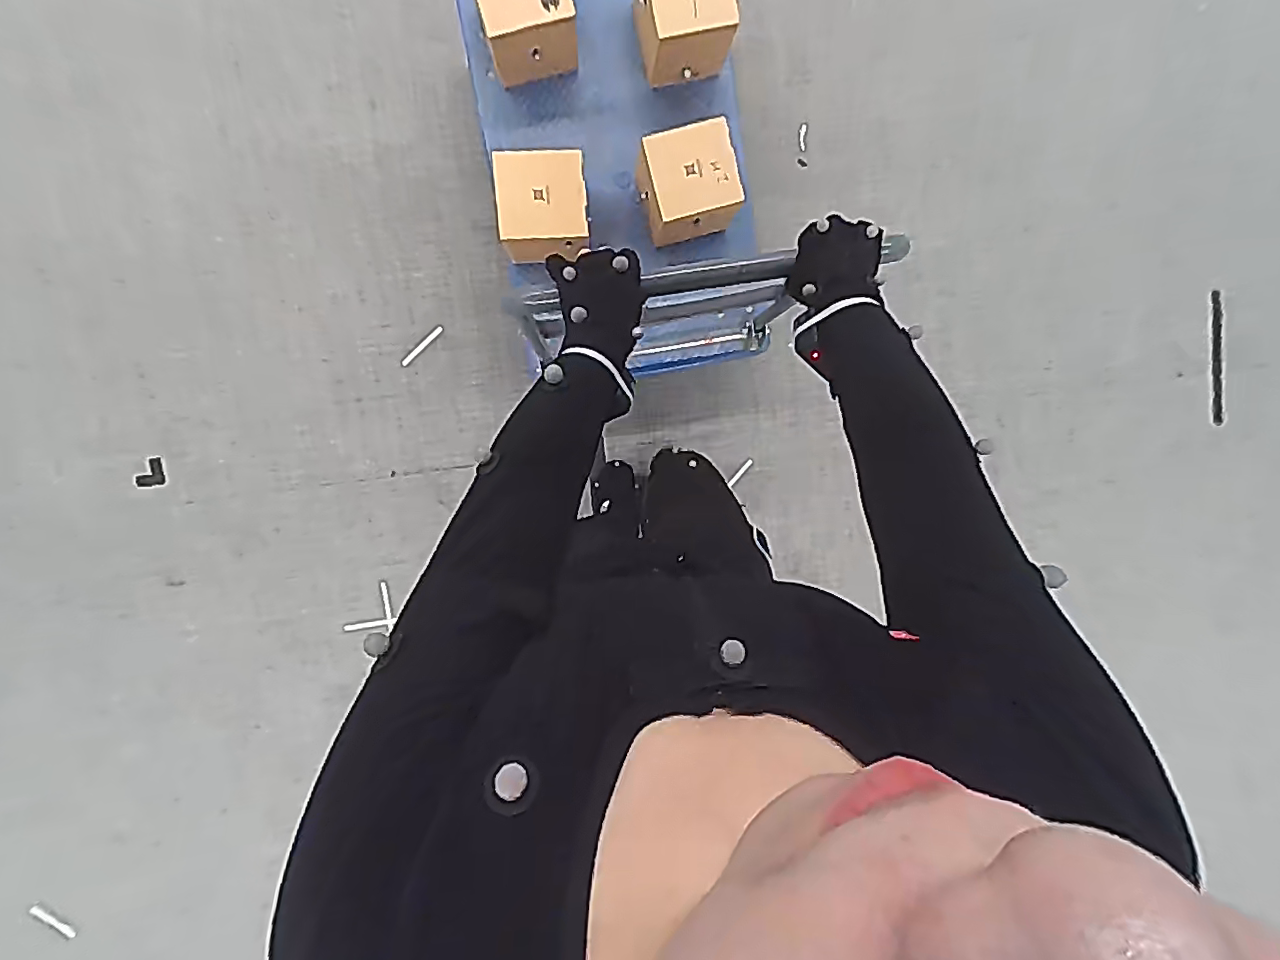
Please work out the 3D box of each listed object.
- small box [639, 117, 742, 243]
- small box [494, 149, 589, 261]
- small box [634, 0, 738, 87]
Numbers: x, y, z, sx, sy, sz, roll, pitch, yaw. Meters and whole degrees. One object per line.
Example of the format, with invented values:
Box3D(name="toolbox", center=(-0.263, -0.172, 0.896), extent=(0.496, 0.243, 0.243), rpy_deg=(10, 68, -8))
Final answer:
Box3D(name="small box", center=(0.100, -0.630, 1.159), extent=(0.179, 0.176, 0.168), rpy_deg=(-16, 98, -3))
Box3D(name="small box", center=(-0.200, -0.571, 1.142), extent=(0.179, 0.176, 0.168), rpy_deg=(-5, 97, -6))
Box3D(name="small box", center=(0.087, -0.965, 1.119), extent=(0.168, 0.176, 0.179), rpy_deg=(-14, 99, -3))
